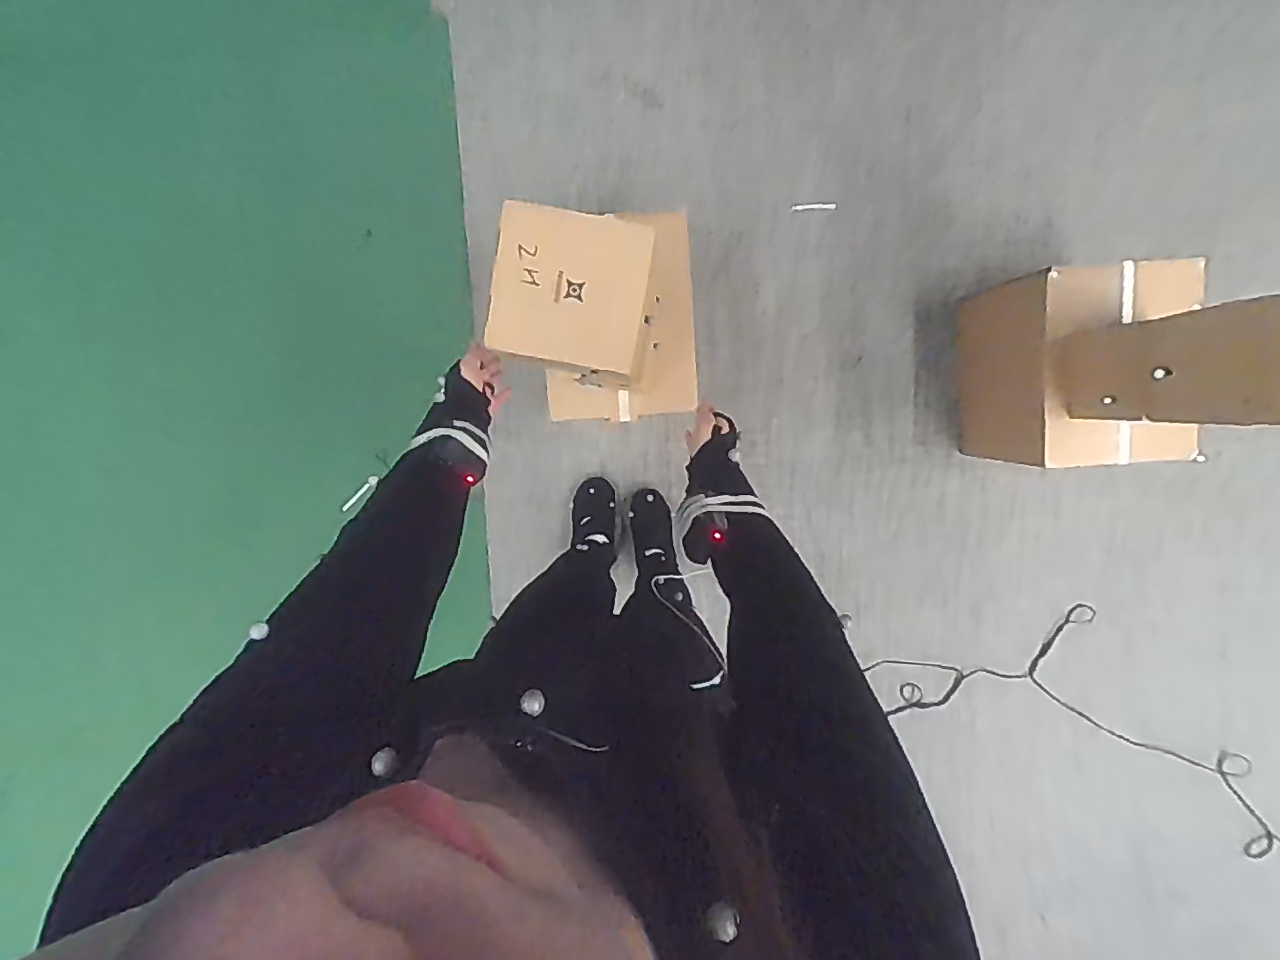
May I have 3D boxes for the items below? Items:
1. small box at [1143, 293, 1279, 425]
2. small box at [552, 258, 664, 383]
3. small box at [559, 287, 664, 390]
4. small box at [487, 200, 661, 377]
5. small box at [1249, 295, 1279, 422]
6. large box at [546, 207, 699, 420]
[{"bbox_3d":[0.944,-0.191,0.844,0.168,0.176,0.179,-12,98,4],"label":"small box"},{"bbox_3d":[-0.060,-0.256,0.856,0.168,0.176,0.179,11,99,1],"label":"small box"},{"bbox_3d":[-0.050,-0.269,1.018,0.168,0.176,0.179,7,98,1],"label":"small box"},{"bbox_3d":[-0.075,-0.229,0.694,0.179,0.176,0.168,12,98,0],"label":"small box"},{"bbox_3d":[0.937,-0.170,0.680,0.168,0.176,0.179,-12,98,5],"label":"small box"},{"bbox_3d":[-0.041,-0.353,1.251,0.320,0.320,0.408,-4,97,2],"label":"large box"}]
